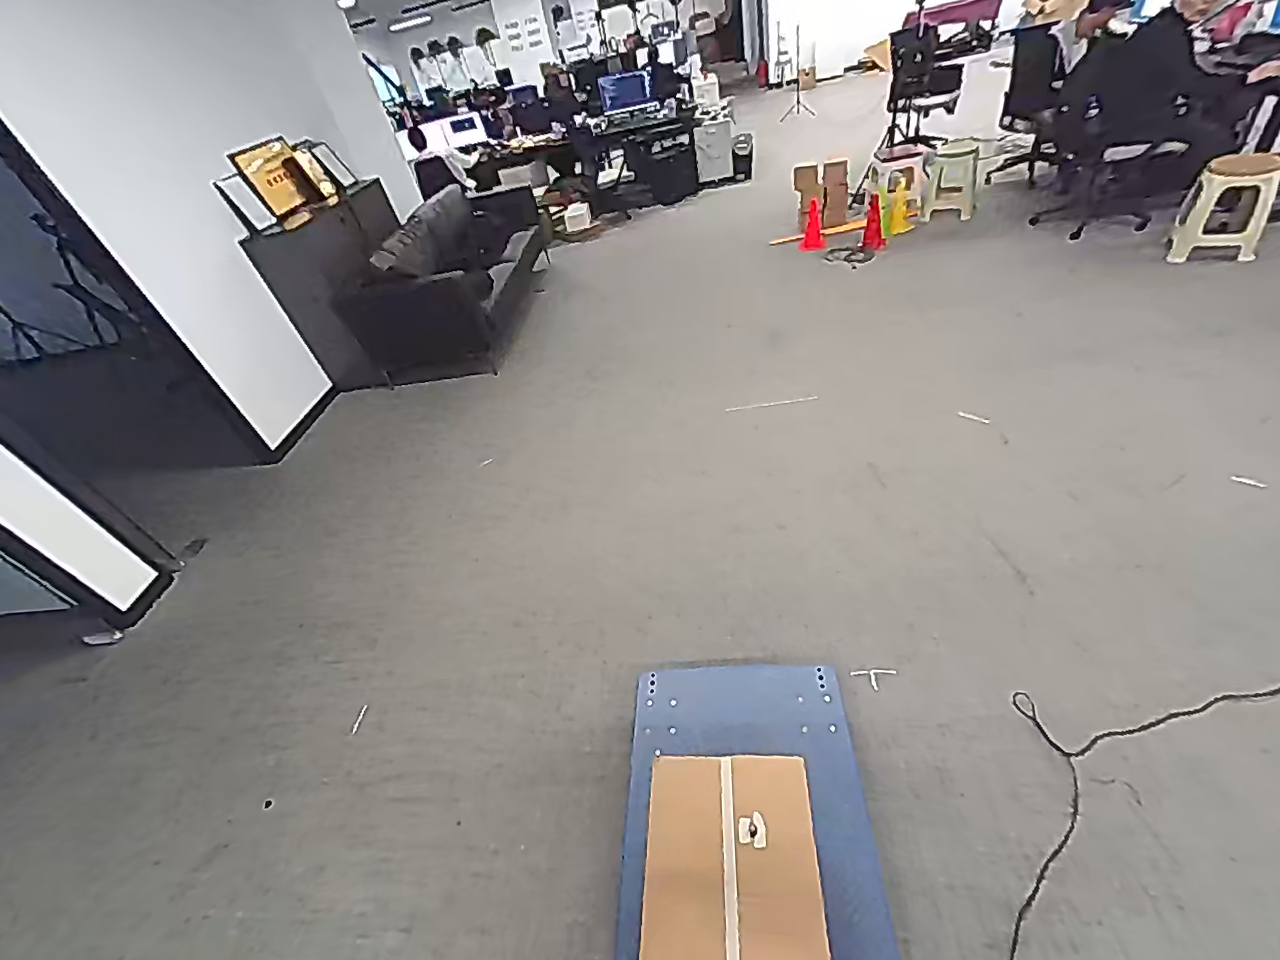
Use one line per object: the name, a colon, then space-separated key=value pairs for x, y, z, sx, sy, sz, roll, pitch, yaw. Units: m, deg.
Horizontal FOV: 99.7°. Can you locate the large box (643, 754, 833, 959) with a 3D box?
large box: x=0.193 y=0.818 z=1.073 sx=0.320 sy=0.320 sz=0.408 roll=-5 pitch=39 yaw=10
